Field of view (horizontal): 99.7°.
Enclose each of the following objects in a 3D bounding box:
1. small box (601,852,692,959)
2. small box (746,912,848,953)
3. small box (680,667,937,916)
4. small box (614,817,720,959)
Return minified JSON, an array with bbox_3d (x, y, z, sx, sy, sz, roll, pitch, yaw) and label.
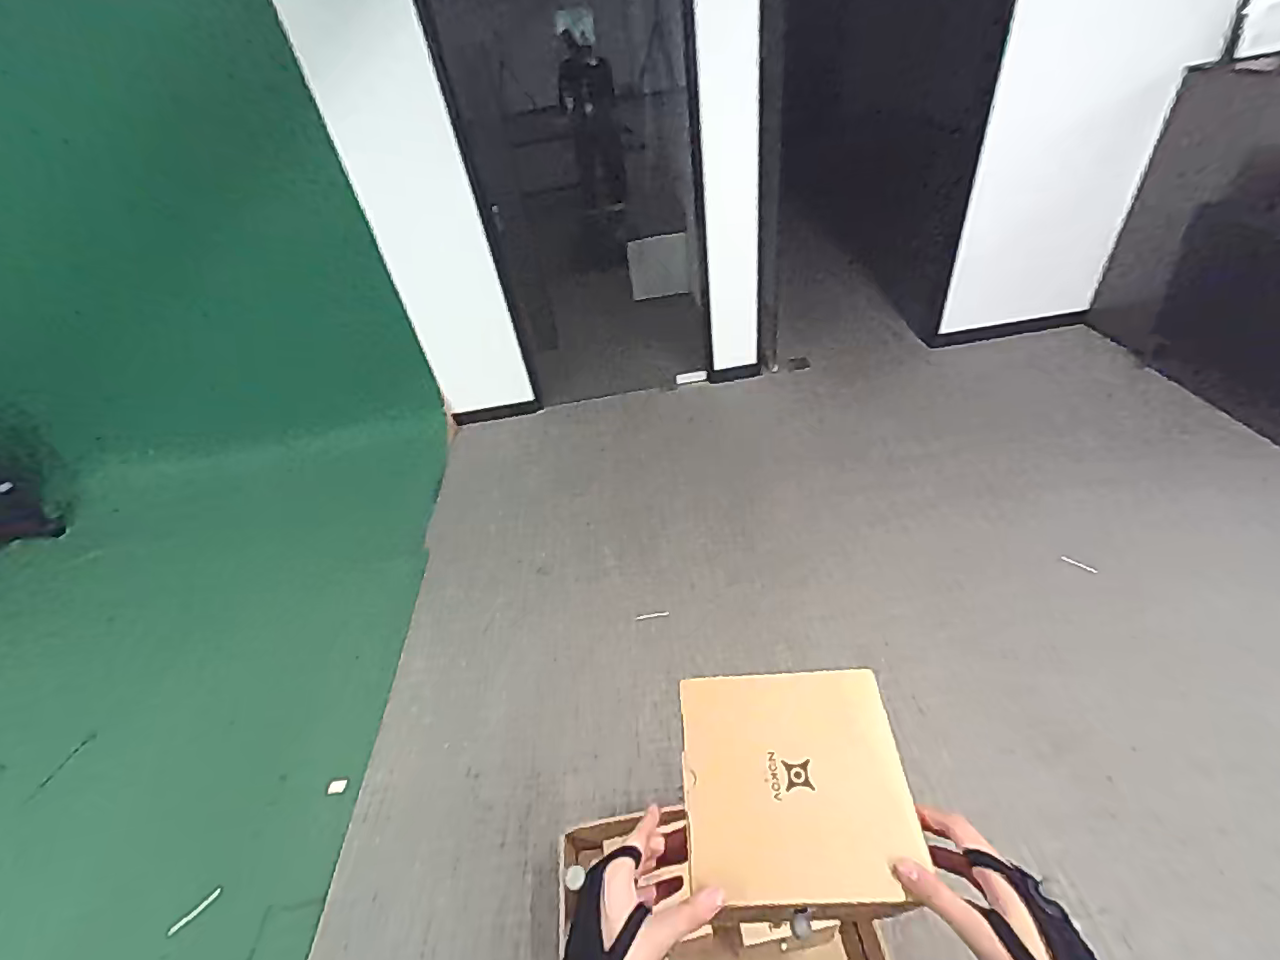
[{"bbox_3d":[0.024,0.894,1.147,0.179,0.176,0.168,-11,42,-3],"label":"small box"},{"bbox_3d":[0.268,0.744,1.011,0.168,0.176,0.179,-13,41,0],"label":"small box"},{"bbox_3d":[0.133,0.288,0.496,0.179,0.176,0.168,-7,48,5],"label":"small box"},{"bbox_3d":[0.052,0.777,1.027,0.168,0.176,0.179,-11,42,-5],"label":"small box"}]
